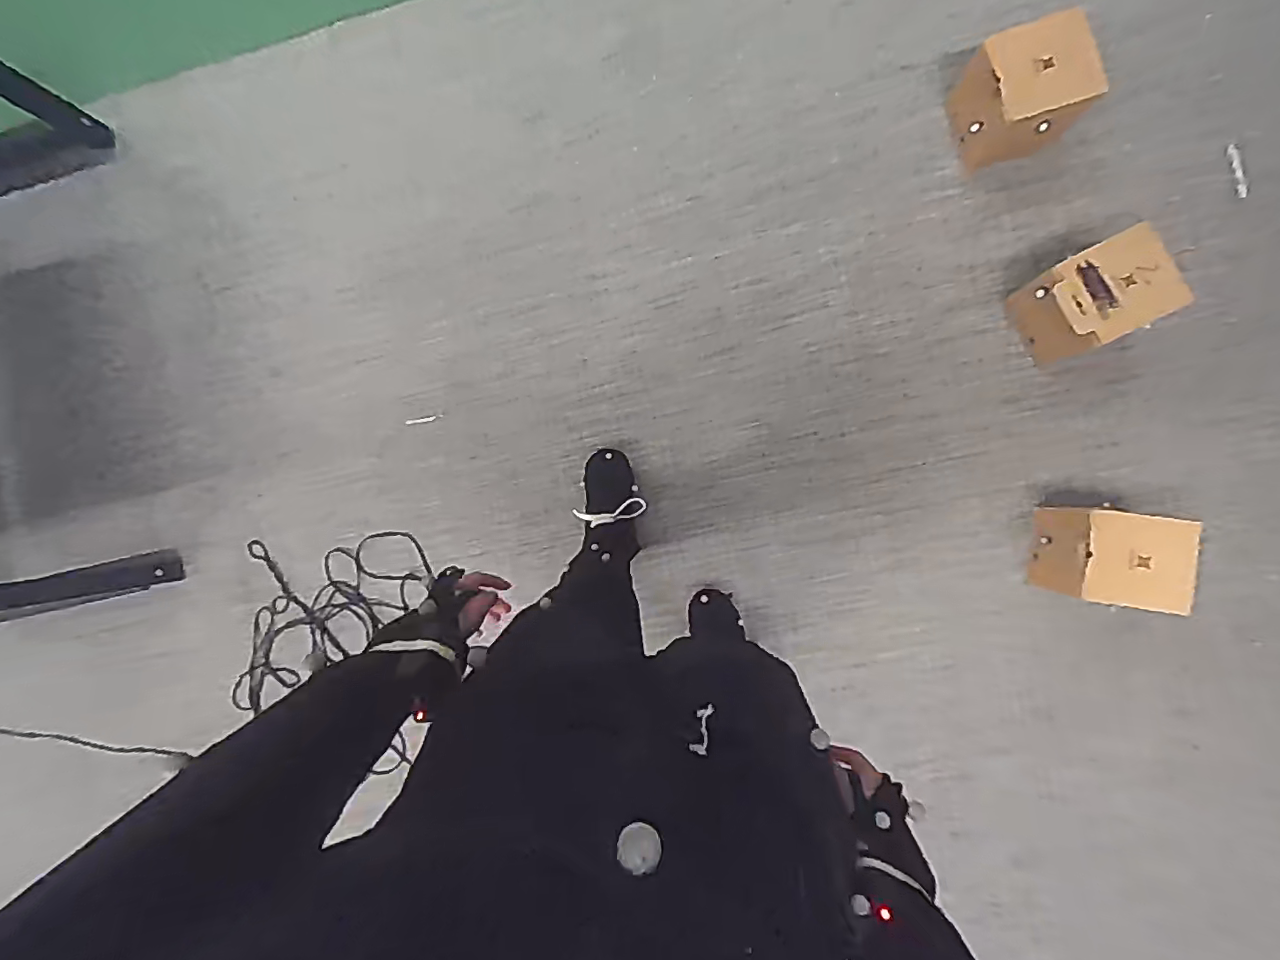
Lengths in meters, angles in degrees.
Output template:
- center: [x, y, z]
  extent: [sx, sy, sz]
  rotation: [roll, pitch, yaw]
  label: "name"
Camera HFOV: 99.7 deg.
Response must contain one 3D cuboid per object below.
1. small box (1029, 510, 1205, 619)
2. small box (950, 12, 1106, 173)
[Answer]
- center: [0.876, 0.148, 1.009]
  extent: [0.179, 0.176, 0.168]
  rotation: [7, 90, 7]
  label: "small box"
- center: [0.735, -0.737, 1.051]
  extent: [0.179, 0.176, 0.168]
  rotation: [-15, 88, 5]
  label: "small box"
